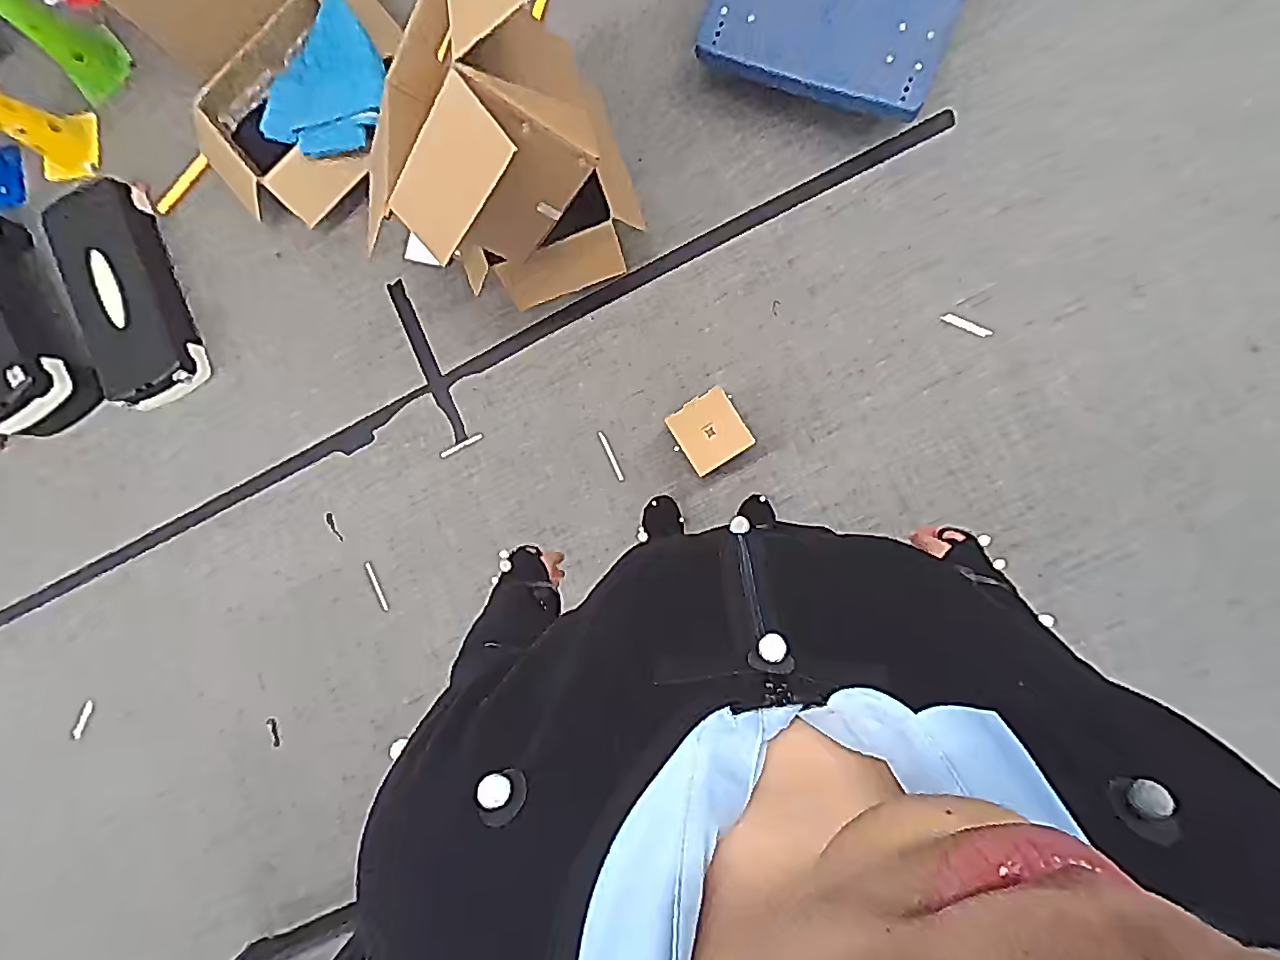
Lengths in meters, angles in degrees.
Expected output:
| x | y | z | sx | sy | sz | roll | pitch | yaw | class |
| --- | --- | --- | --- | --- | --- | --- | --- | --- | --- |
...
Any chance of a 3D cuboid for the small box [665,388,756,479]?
| x | y | z | sx | sy | sz | roll | pitch | yaw | class |
| --- | --- | --- | --- | --- | --- | --- | --- | --- | --- |
| 0.186 | -0.118 | 1.426 | 0.168 | 0.176 | 0.179 | -32 | 86 | 5 | small box |
